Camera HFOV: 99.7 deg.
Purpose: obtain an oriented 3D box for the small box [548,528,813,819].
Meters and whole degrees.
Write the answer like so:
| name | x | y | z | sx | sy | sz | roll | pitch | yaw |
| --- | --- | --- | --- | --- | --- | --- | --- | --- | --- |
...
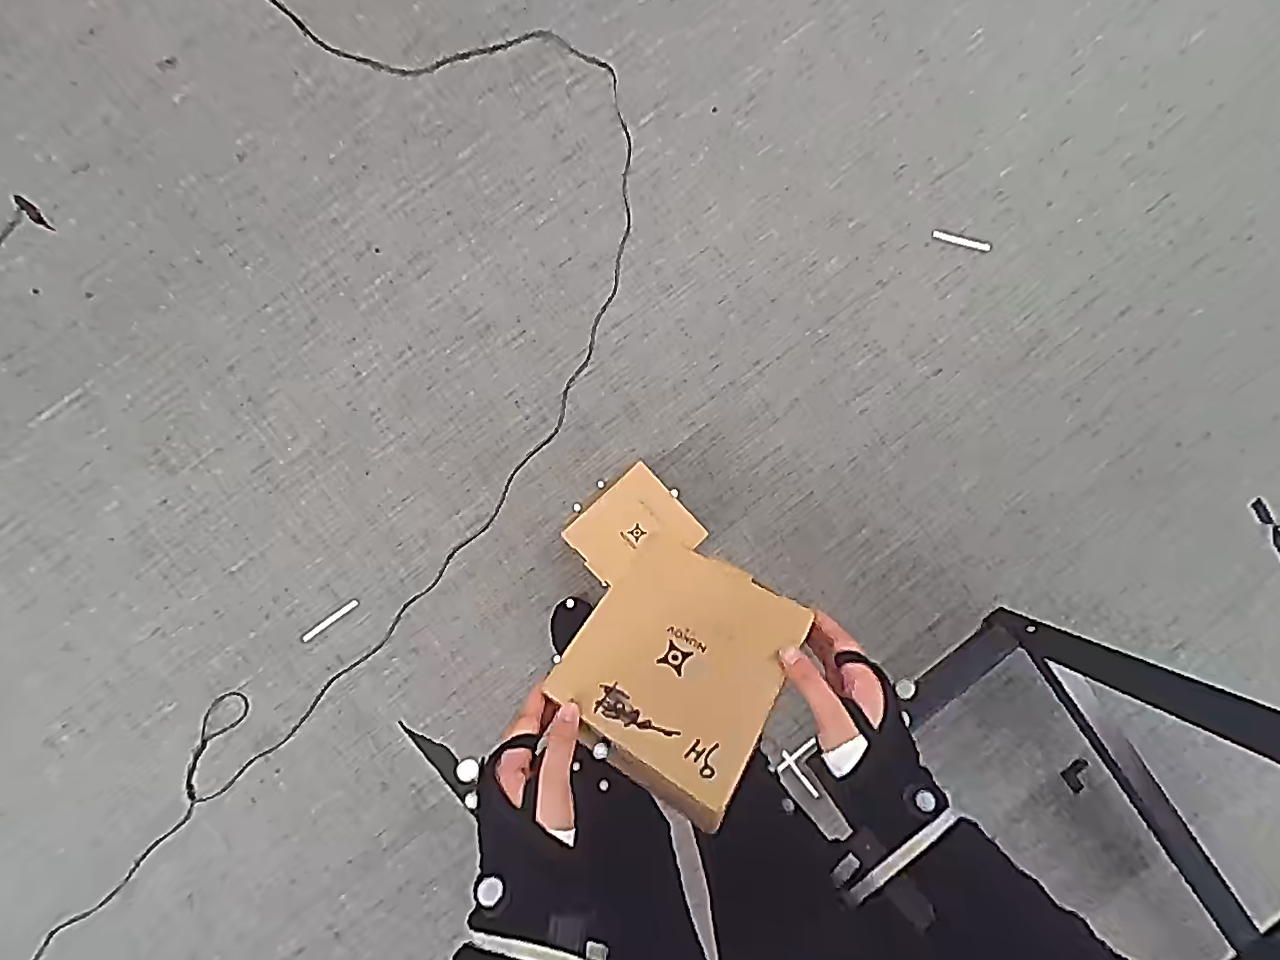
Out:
| name | x | y | z | sx | sy | sz | roll | pitch | yaw |
| --- | --- | --- | --- | --- | --- | --- | --- | --- | --- |
| small box | 0.041 | 0.184 | 0.515 | 0.168 | 0.176 | 0.179 | 25 | 59 | 23 |

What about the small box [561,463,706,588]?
| name | x | y | z | sx | sy | sz | roll | pitch | yaw |
| --- | --- | --- | --- | --- | --- | --- | --- | --- | --- |
| small box | -0.014 | 0.088 | 0.940 | 0.179 | 0.176 | 0.168 | -43 | 95 | -3 |
